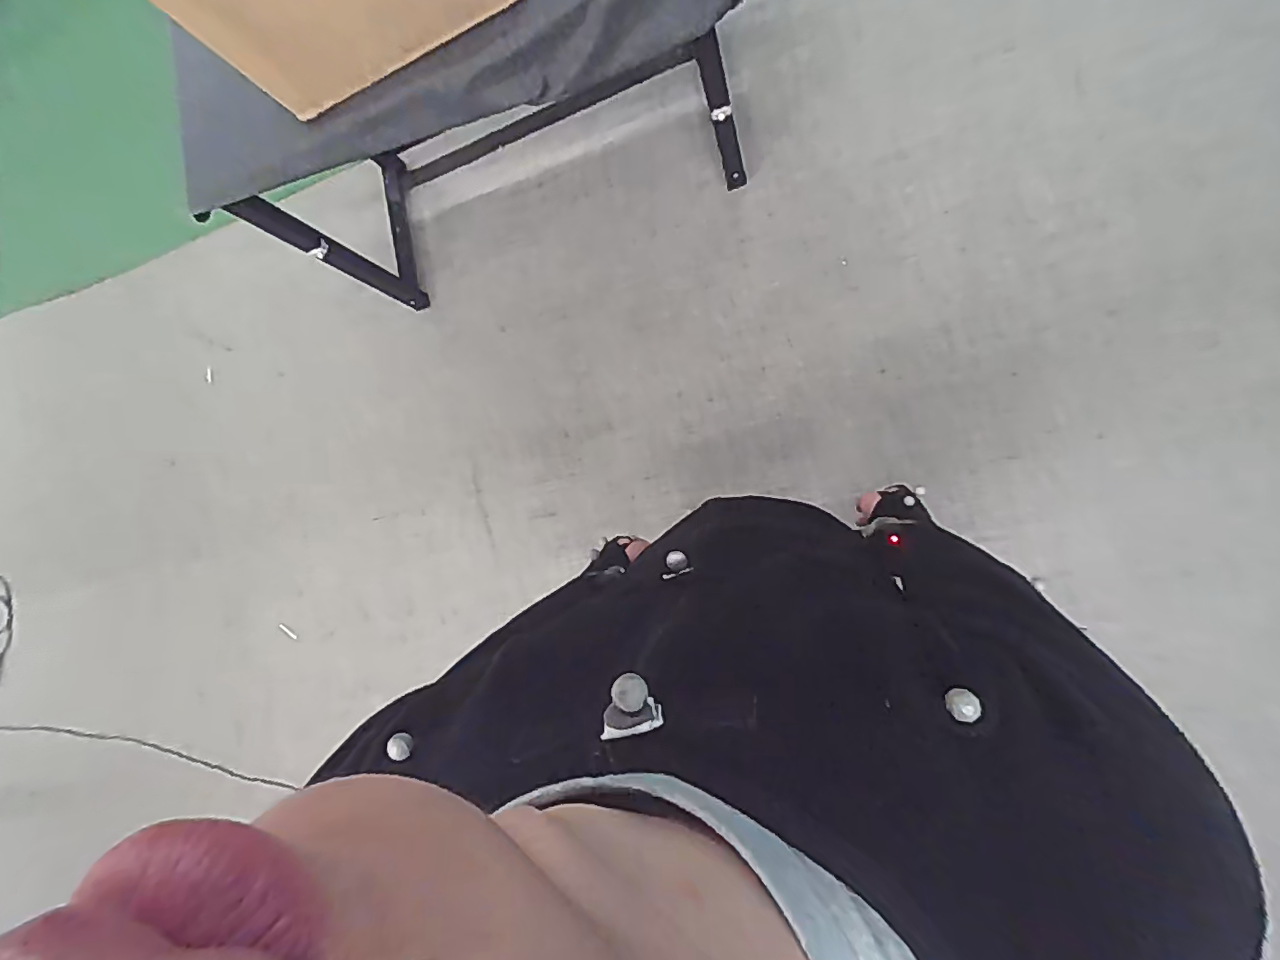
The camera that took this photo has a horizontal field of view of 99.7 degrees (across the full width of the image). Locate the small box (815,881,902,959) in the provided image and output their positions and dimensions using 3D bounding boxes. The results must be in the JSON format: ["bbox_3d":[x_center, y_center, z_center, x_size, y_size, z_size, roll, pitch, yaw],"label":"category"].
[{"bbox_3d":[0.532,1.121,1.308,0.168,0.176,0.179,-19,80,14],"label":"small box"}]
